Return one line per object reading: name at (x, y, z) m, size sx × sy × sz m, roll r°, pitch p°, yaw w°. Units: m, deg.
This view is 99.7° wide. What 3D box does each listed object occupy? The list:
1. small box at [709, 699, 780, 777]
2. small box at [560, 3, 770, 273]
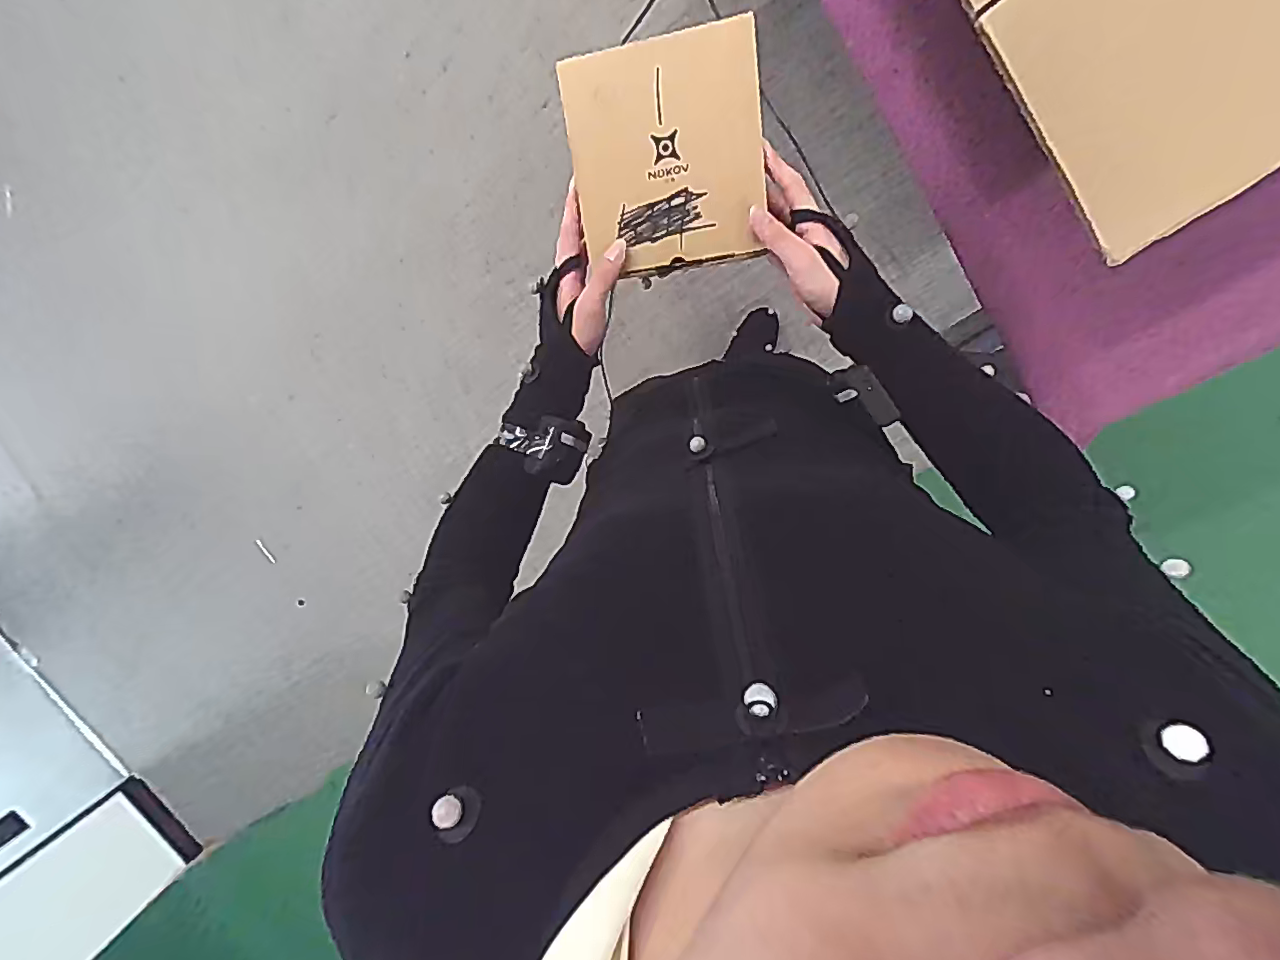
small box at (0.341, 0.851, 1.750) m, size 0.168 × 0.176 × 0.179 m, roll -27°, pitch 98°, yaw 17°
small box at (0.037, -0.305, 0.528) m, size 0.168 × 0.176 × 0.179 m, roll -5°, pitch 109°, yaw 11°
